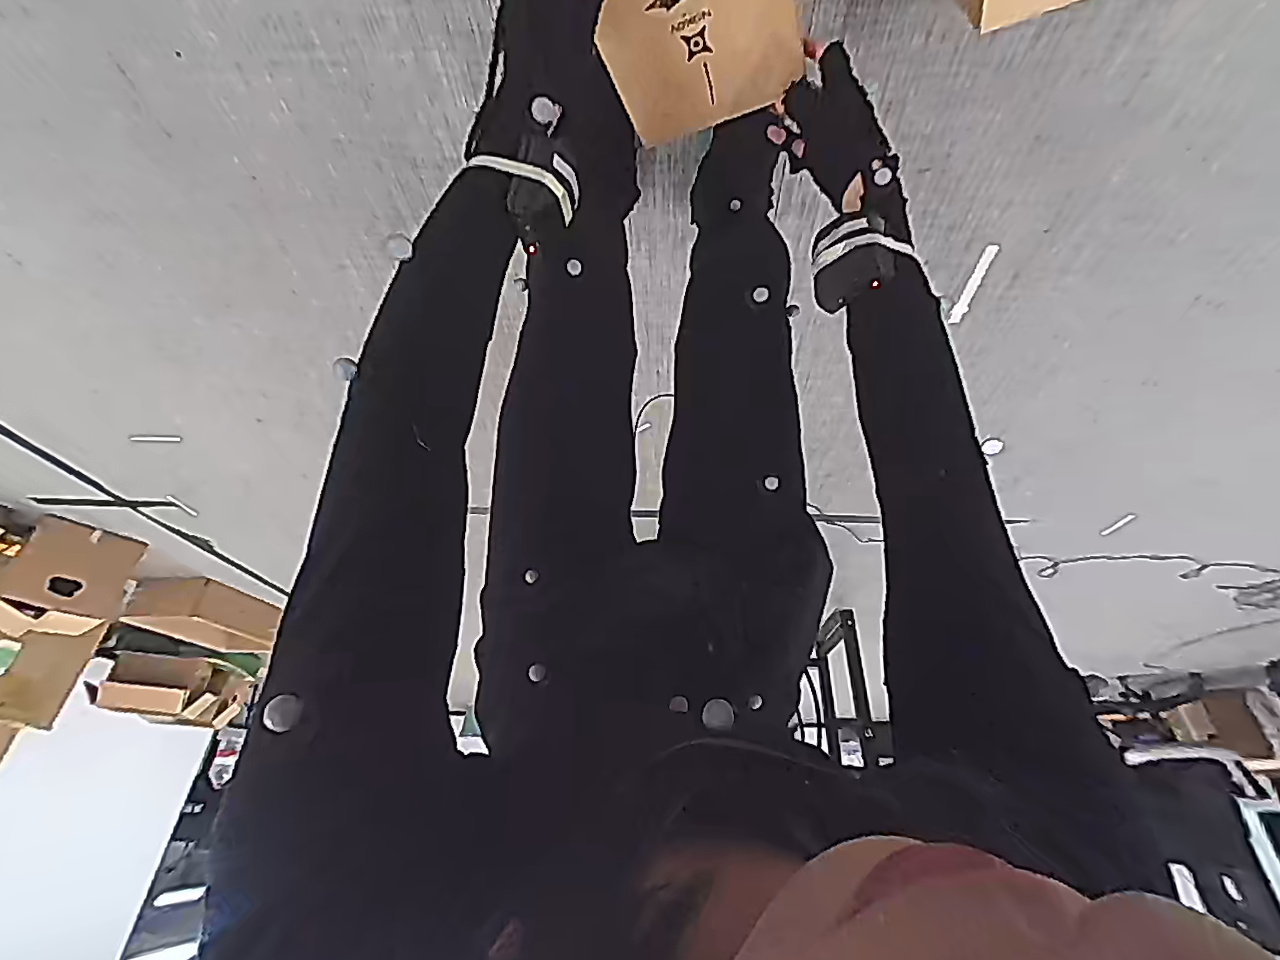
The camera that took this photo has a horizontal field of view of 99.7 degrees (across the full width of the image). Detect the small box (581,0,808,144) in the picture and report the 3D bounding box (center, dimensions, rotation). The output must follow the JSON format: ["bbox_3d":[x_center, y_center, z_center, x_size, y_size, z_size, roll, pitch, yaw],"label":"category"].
[{"bbox_3d":[0.047,-0.454,0.474,0.168,0.176,0.179,-7,158,22],"label":"small box"}]

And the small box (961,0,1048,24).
[{"bbox_3d":[0.403,-0.591,0.510,0.179,0.176,0.168,-9,145,19],"label":"small box"}]
